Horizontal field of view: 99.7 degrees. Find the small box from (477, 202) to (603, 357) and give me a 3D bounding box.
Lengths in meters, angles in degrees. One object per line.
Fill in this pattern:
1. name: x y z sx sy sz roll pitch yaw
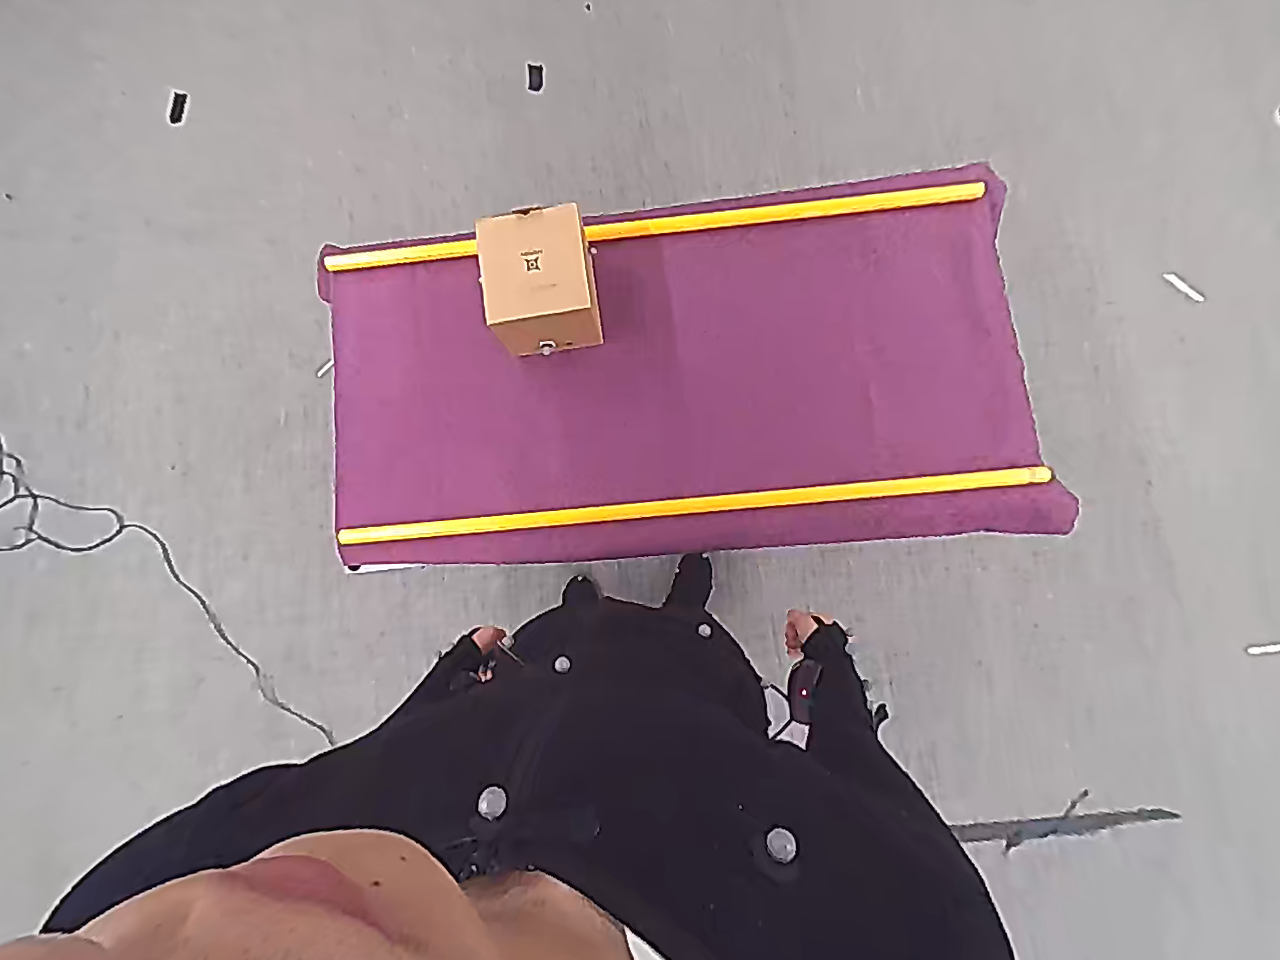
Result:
1. small box: -0.160 -0.327 0.910 0.168 0.176 0.179 -9 84 2
